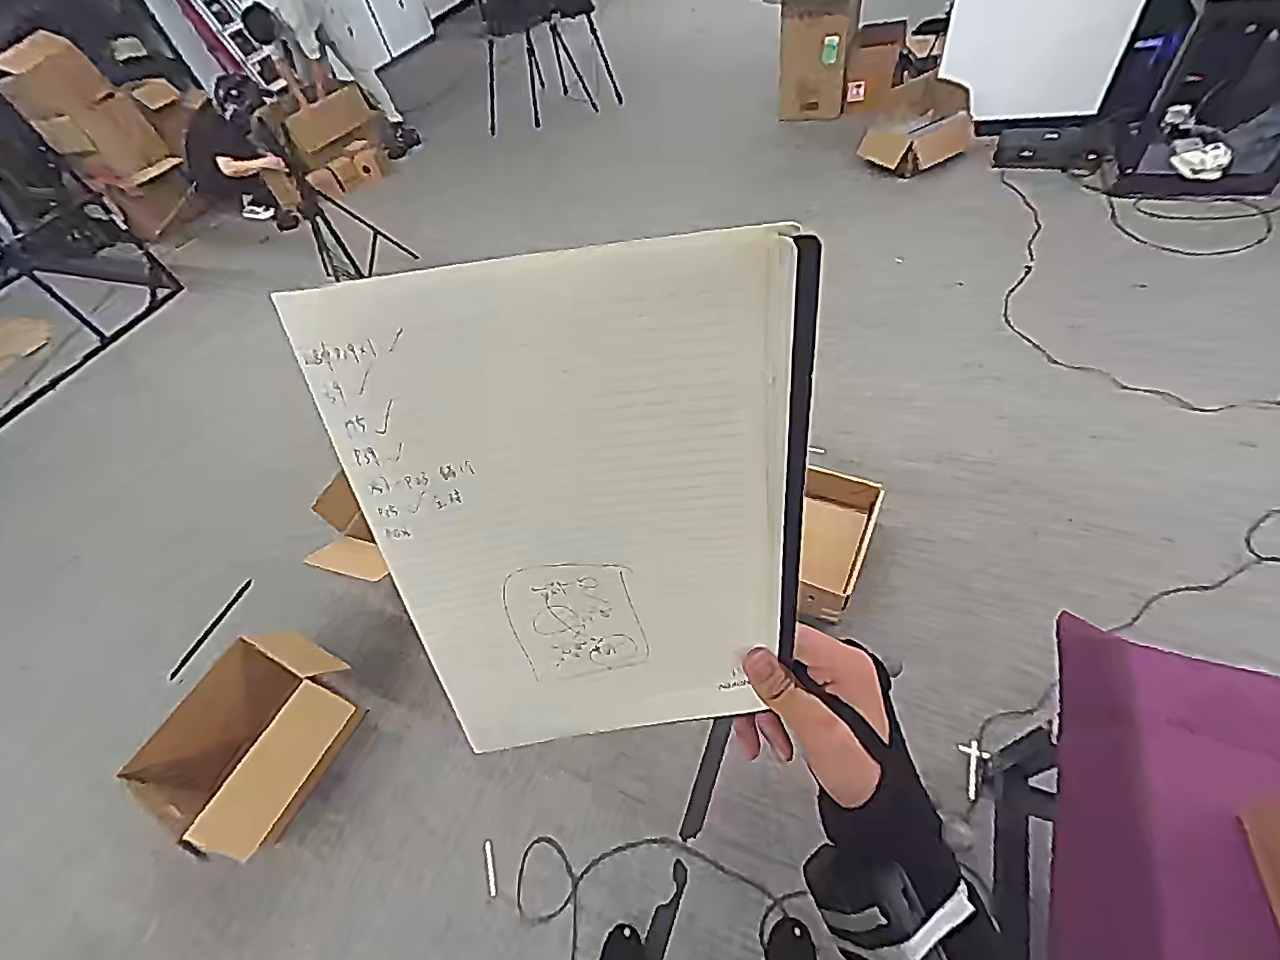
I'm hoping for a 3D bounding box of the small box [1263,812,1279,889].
[{"bbox_3d":[0.767,0.421,0.511,0.179,0.176,0.168,6,56,16],"label":"small box"}]
